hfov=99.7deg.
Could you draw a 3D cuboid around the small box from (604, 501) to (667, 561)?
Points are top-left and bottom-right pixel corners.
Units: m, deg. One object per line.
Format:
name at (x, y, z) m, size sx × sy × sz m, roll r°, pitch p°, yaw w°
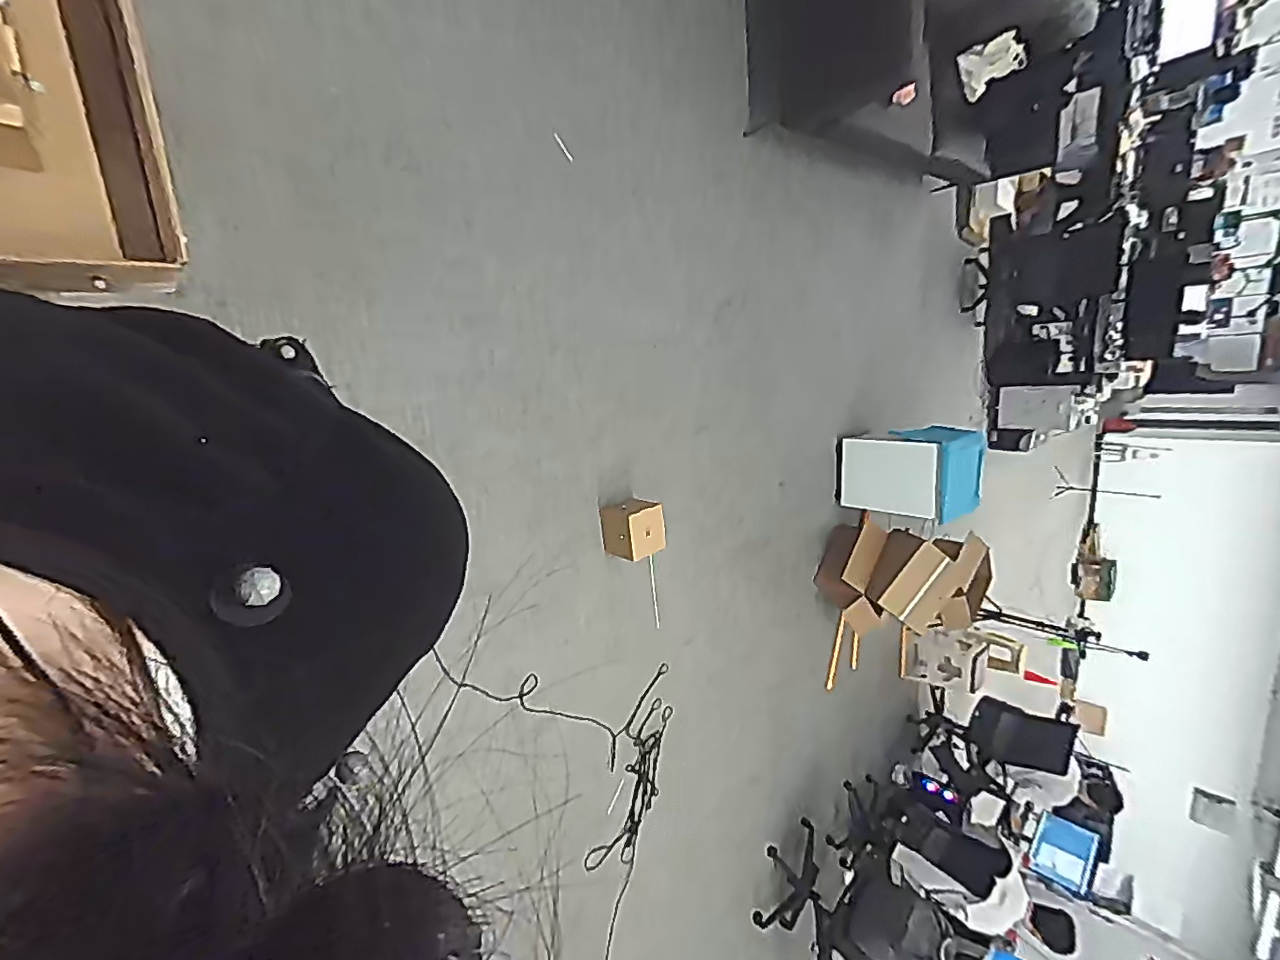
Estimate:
small box at (-0.020, 0.180, 1.995) m, size 0.168 × 0.176 × 0.179 m, roll -17°, pitch 108°, yaw -40°
